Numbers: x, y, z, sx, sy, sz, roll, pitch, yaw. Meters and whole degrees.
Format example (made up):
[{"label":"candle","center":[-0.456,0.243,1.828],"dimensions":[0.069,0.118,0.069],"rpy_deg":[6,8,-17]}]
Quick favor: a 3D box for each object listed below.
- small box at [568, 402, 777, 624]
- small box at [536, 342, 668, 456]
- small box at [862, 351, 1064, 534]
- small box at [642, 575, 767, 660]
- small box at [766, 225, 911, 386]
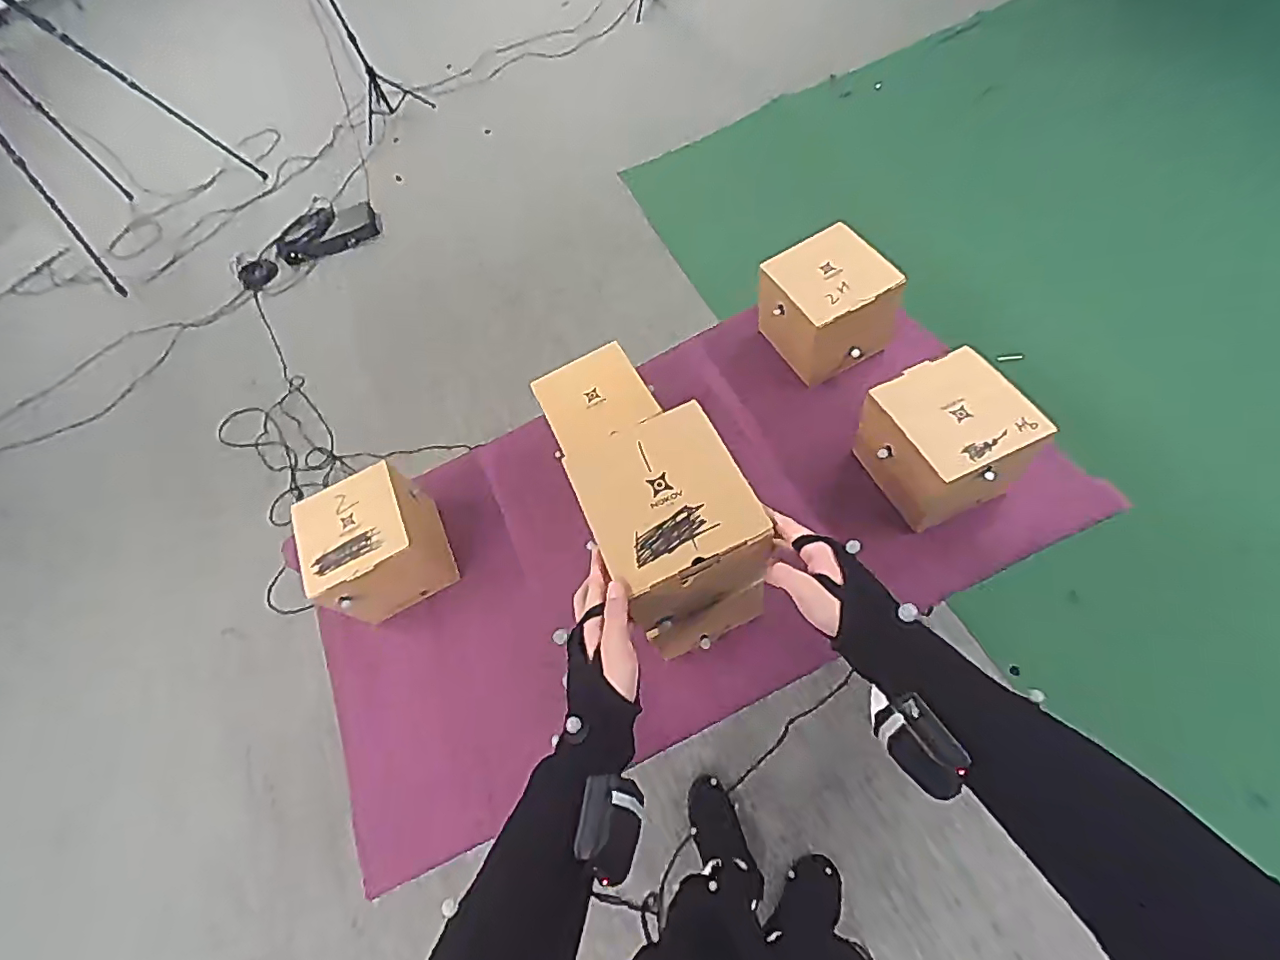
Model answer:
[{"label":"small box","center":[0.038,0.049,0.619],"dimensions":[0.168,0.176,0.179],"rpy_deg":[-24,62,-5]},{"label":"small box","center":[-0.053,-0.094,0.926],"dimensions":[0.168,0.176,0.179],"rpy_deg":[-27,62,-5]},{"label":"small box","center":[0.454,-0.050,0.800],"dimensions":[0.168,0.176,0.179],"rpy_deg":[-25,58,-1]},{"label":"small box","center":[0.067,0.135,0.778],"dimensions":[0.168,0.176,0.179],"rpy_deg":[-26,60,-2]},{"label":"small box","center":[0.336,-0.301,0.956],"dimensions":[0.168,0.176,0.179],"rpy_deg":[-28,61,-1]}]
